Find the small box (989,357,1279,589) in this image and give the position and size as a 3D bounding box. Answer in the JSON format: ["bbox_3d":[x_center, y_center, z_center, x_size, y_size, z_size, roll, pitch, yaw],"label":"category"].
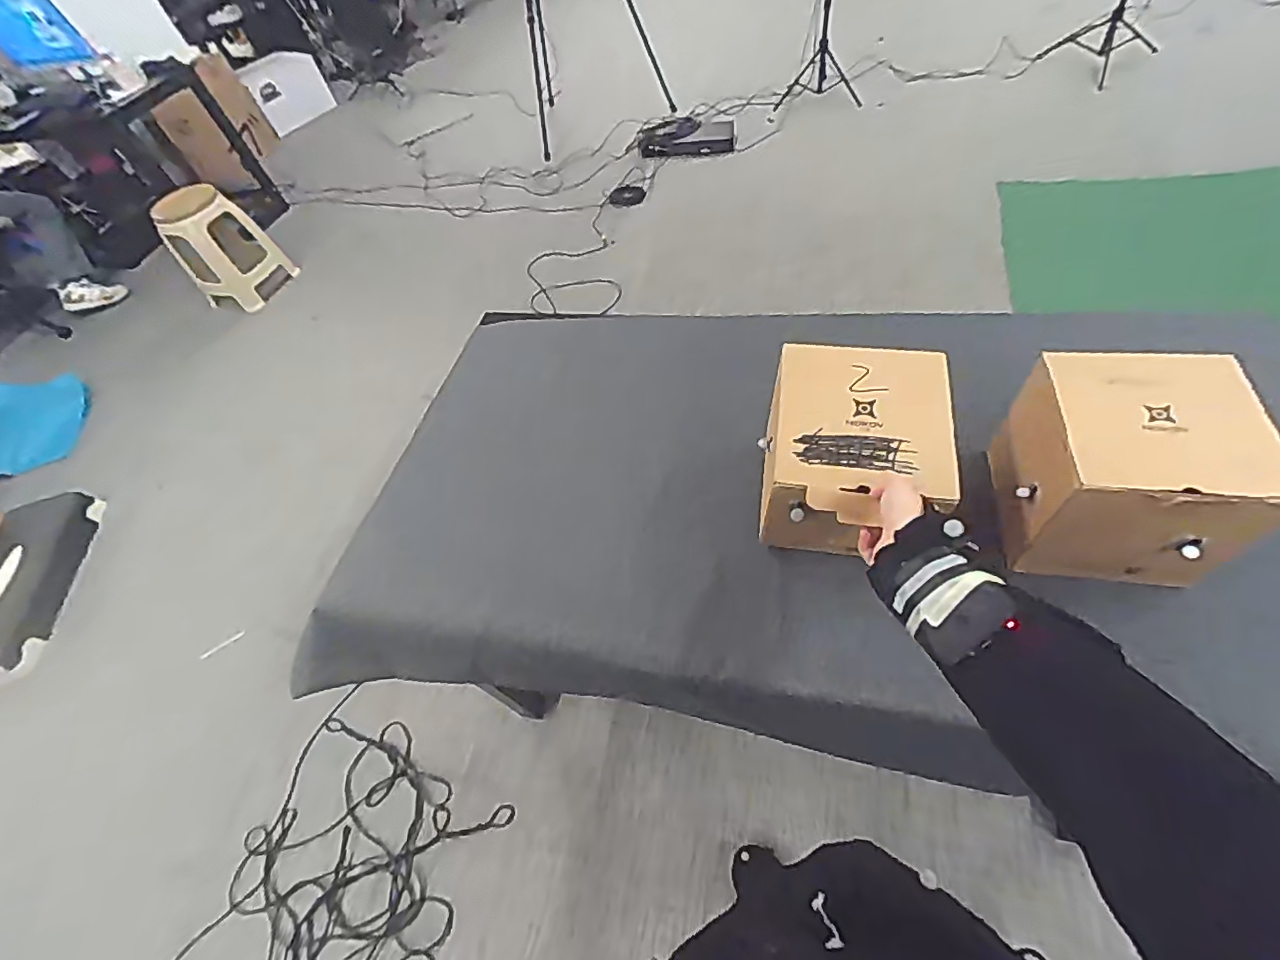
[{"bbox_3d":[0.490,-0.004,0.557,0.168,0.176,0.179,4,54,13],"label":"small box"}]
